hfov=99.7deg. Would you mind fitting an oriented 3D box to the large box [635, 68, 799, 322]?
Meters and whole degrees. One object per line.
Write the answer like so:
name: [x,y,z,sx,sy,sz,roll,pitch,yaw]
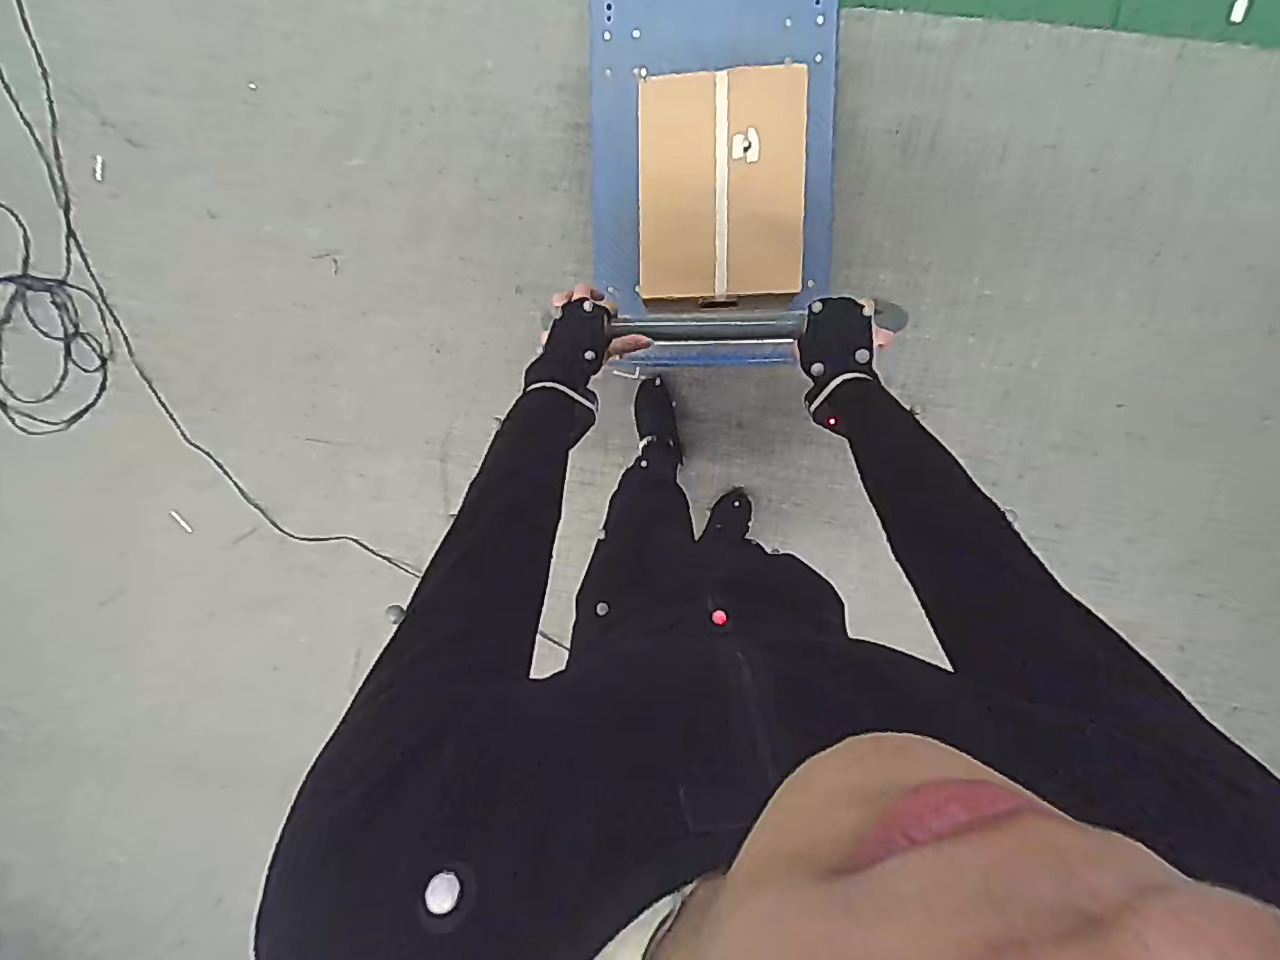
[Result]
large box: [0.165,-0.581,1.185,0.320,0.320,0.408,0,97,6]
